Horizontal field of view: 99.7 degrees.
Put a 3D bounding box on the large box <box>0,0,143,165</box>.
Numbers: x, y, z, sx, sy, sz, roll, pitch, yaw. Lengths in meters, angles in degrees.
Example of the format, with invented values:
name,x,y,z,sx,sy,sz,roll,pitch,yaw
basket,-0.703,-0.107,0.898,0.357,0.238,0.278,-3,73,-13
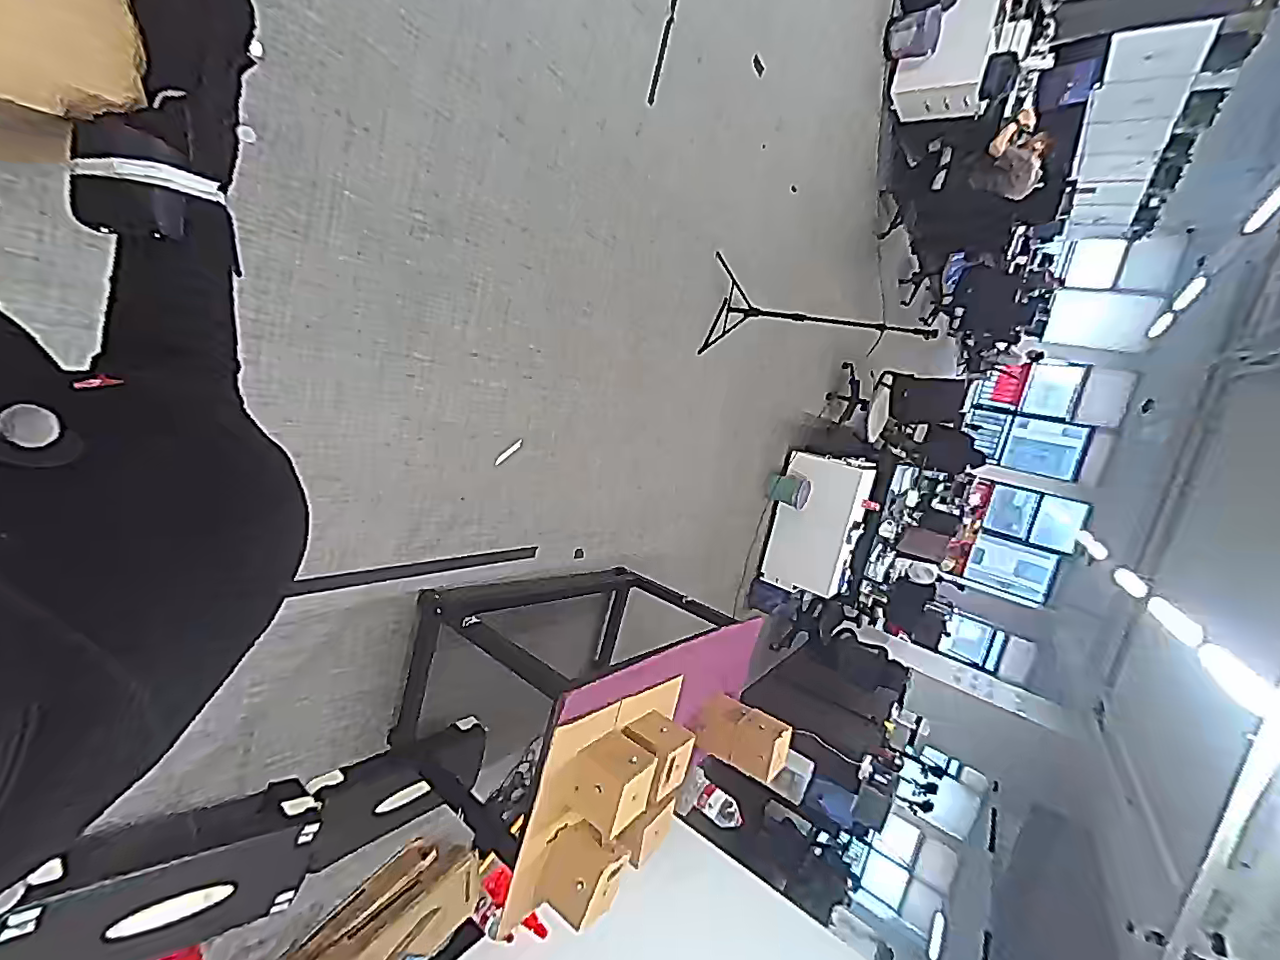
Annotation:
name,x,y,z,sx,sy,sz,roll,pitch,yaw
large box,-0.561,-0.395,0.257,0.408,0.320,0.320,-11,114,-57
